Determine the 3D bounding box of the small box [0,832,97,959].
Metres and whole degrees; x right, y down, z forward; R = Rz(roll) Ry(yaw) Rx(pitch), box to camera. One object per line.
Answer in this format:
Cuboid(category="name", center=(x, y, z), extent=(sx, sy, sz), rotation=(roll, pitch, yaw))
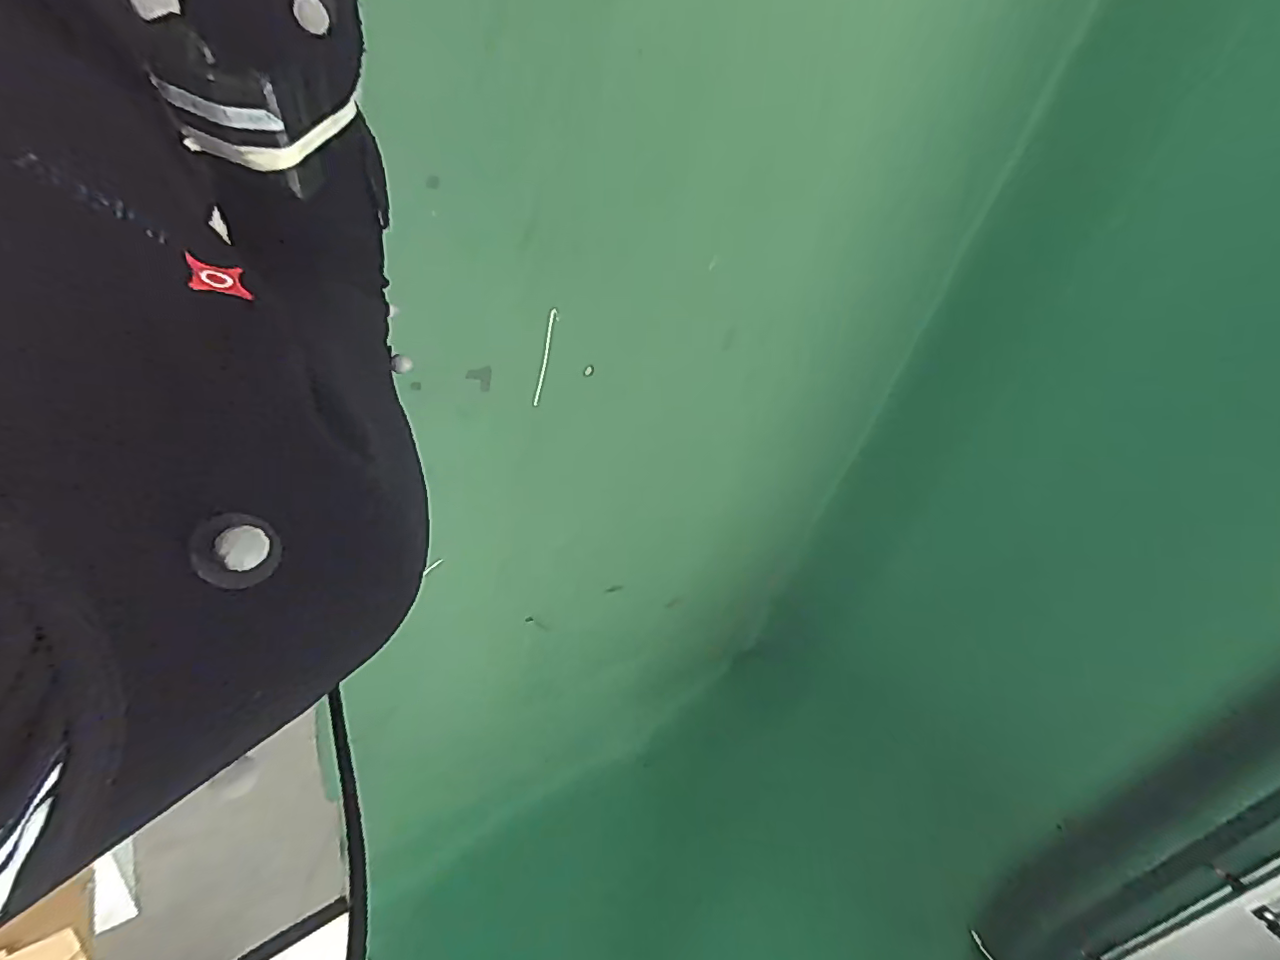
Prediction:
Cuboid(category="small box", center=(-0.925, 0.659, 0.791), extent=(0.168, 0.176, 0.179), rotation=(-8, 130, -40))
